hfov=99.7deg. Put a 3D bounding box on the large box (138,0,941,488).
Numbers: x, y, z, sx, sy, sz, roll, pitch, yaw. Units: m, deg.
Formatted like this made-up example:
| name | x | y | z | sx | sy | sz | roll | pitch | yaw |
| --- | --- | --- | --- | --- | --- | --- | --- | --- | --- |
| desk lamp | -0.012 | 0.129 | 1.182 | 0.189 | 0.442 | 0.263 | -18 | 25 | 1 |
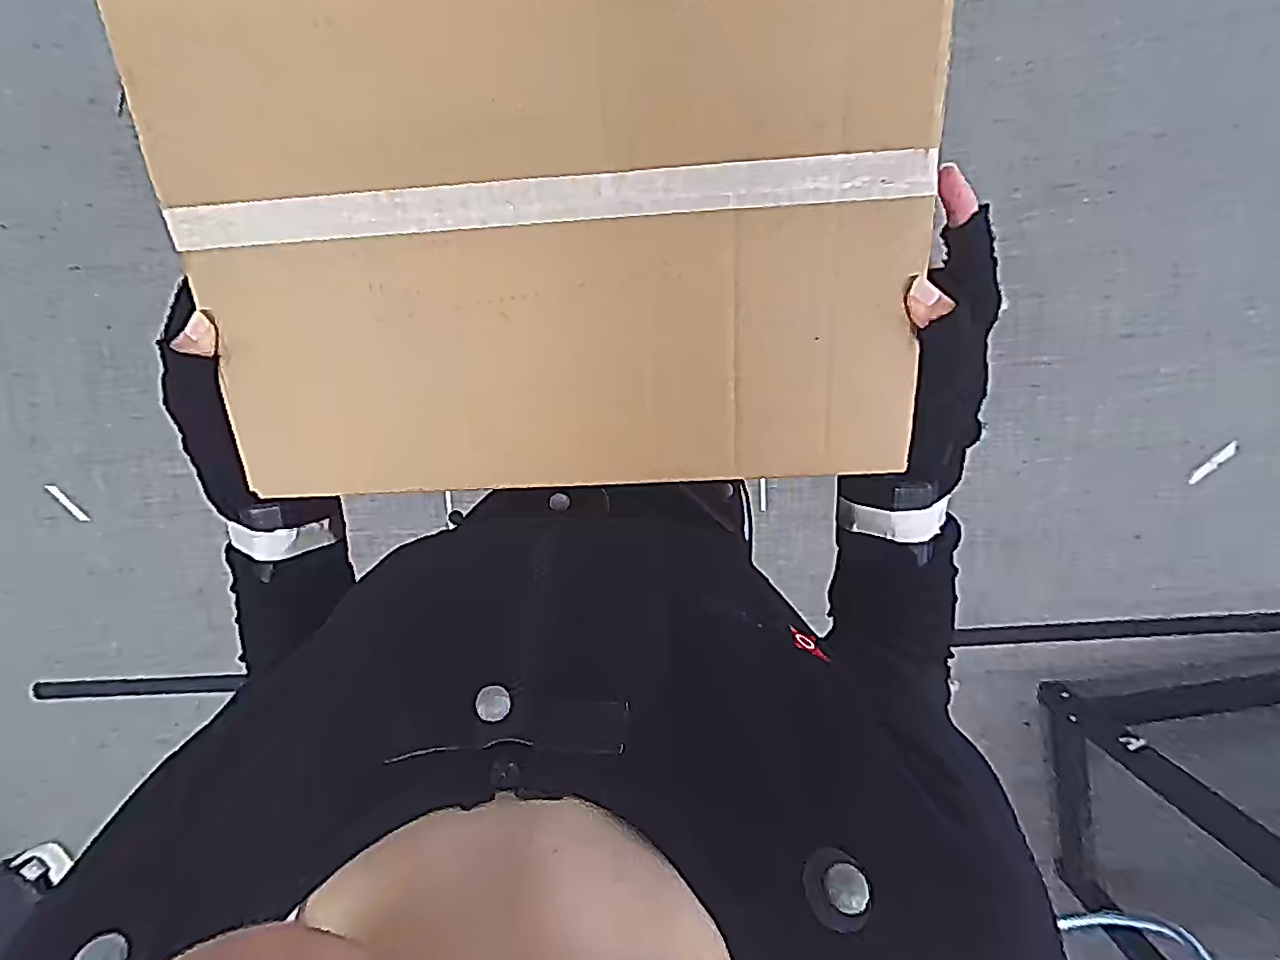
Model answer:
| name | x | y | z | sx | sy | sz | roll | pitch | yaw |
| --- | --- | --- | --- | --- | --- | --- | --- | --- | --- |
| large box | -0.044 | -0.196 | 0.435 | 0.408 | 0.320 | 0.320 | -2 | 109 | 3 |
